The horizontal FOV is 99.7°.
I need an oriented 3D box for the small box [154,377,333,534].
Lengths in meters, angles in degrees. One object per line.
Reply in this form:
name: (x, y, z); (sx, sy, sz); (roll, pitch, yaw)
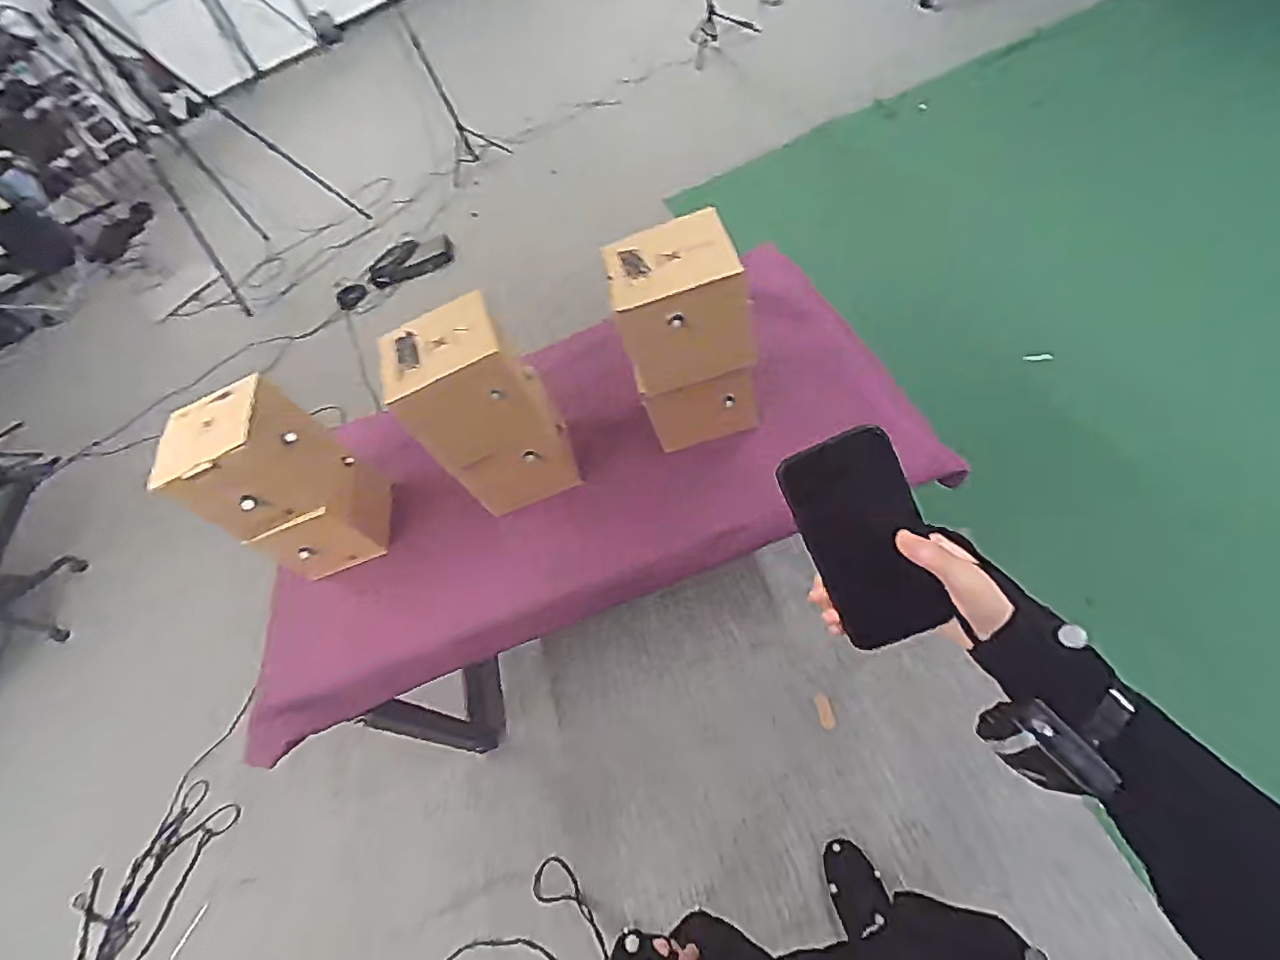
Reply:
small box: (-0.643, -0.031, 0.902); (0.168, 0.176, 0.179); (-25, 53, 1)

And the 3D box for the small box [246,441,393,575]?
small box: (-0.594, 0.063, 1.028); (0.168, 0.176, 0.179); (-21, 53, 5)

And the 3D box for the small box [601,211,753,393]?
small box: (0.057, -0.257, 0.807); (0.179, 0.176, 0.168); (-16, 53, 8)

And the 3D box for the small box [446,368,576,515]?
small box: (-0.228, -0.064, 0.982); (0.179, 0.176, 0.168); (-22, 53, 5)

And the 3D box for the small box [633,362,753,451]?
small box: (0.092, -0.177, 0.946); (0.179, 0.176, 0.168); (-17, 53, 9)
